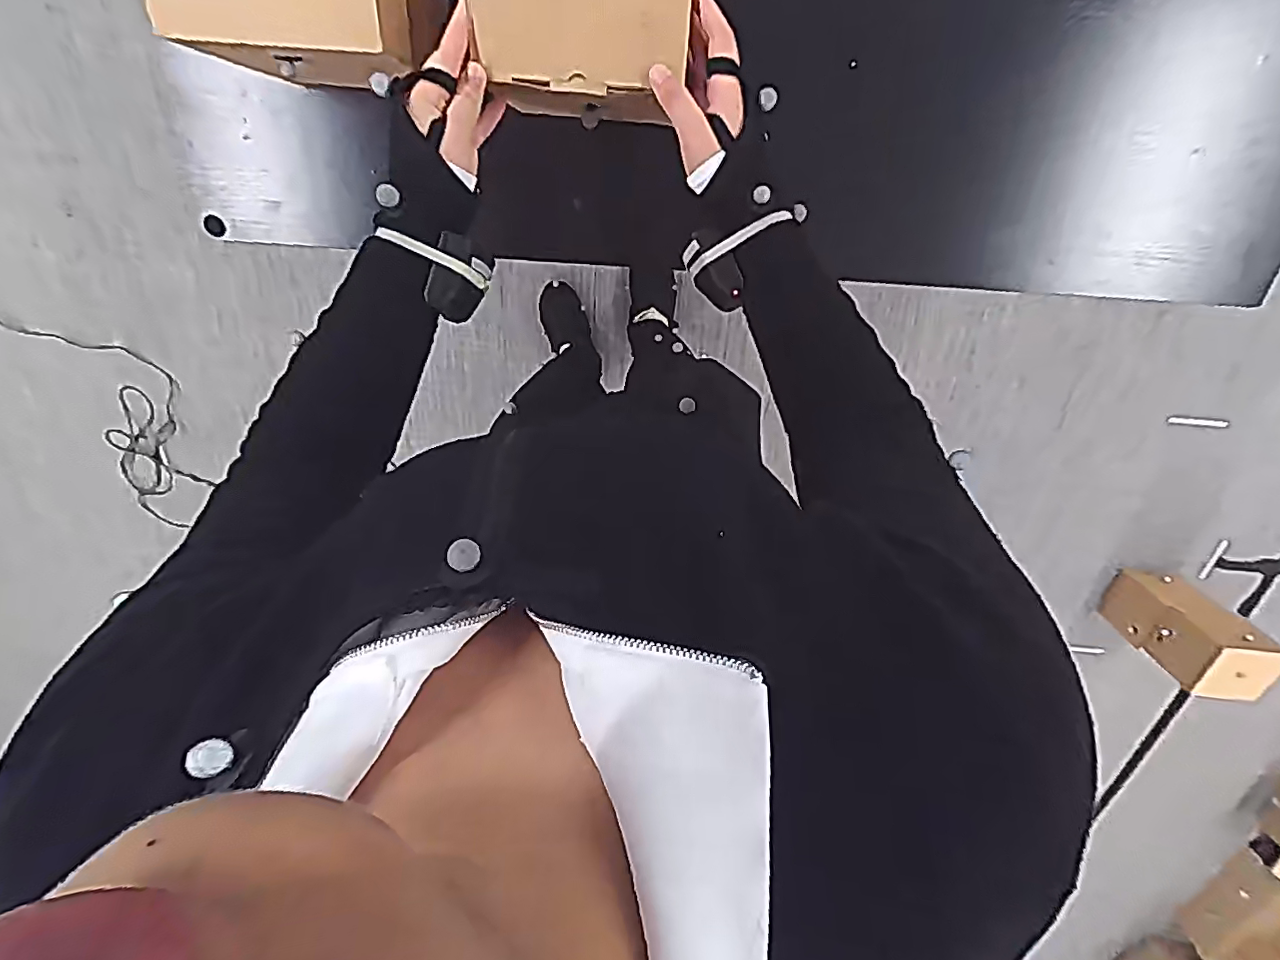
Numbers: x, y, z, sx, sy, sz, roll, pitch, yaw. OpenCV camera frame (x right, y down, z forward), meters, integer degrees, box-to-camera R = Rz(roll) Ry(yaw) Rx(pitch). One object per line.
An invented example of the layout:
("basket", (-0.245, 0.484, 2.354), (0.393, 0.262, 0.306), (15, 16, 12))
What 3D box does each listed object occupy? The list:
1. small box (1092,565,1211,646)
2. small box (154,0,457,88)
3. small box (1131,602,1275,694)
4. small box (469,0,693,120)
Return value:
("small box", (1.516, 0.381, 1.621), (0.168, 0.176, 0.179), (4, 118, 0))
("small box", (-0.270, -0.442, 0.447), (0.179, 0.176, 0.168), (4, 118, -1))
("small box", (1.521, 0.453, 1.475), (0.179, 0.176, 0.168), (6, 117, 1))
("small box", (-0.038, -0.417, 0.452), (0.168, 0.176, 0.179), (5, 118, 0))
